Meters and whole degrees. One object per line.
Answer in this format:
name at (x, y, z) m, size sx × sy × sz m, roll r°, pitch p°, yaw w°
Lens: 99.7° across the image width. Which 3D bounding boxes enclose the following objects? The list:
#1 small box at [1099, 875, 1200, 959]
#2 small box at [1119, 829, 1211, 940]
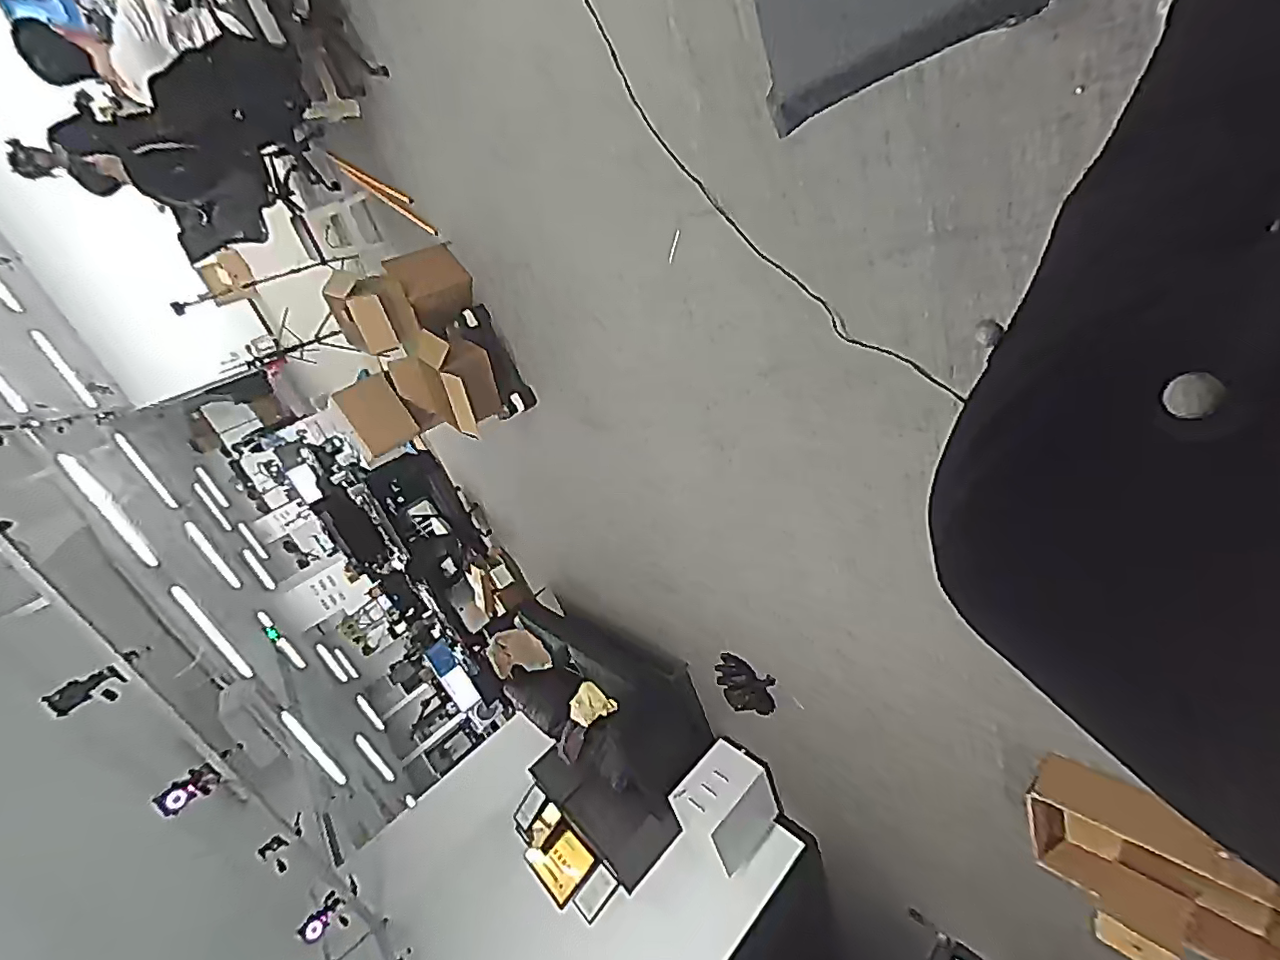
small box at (1.436, 1.269, 1.525) m, size 0.179 × 0.176 × 0.168 m, roll 9°, pitch 127°, yaw 53°
small box at (1.576, 1.202, 1.622) m, size 0.179 × 0.176 × 0.168 m, roll 7°, pitch 127°, yaw 53°
